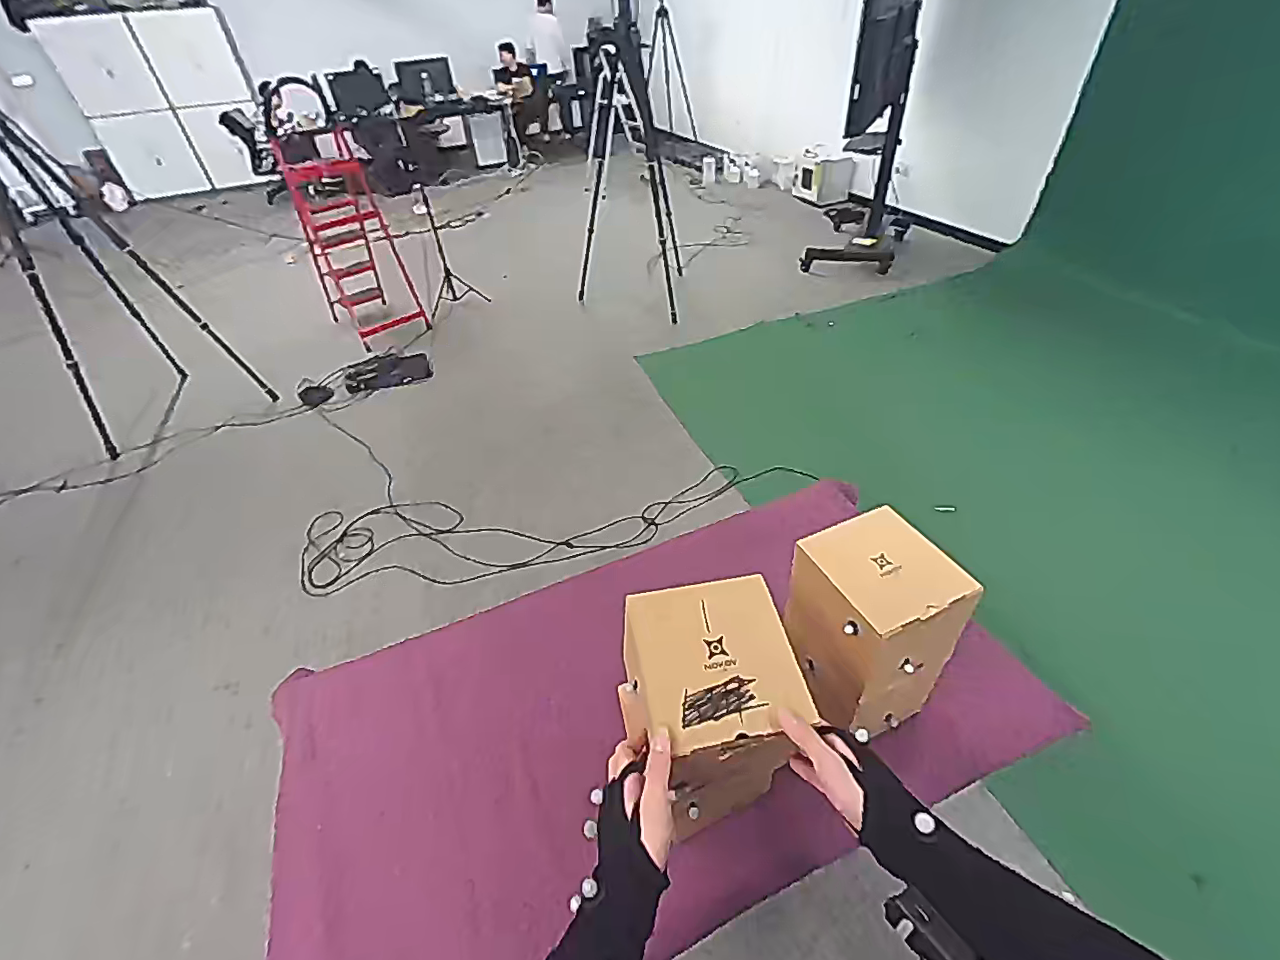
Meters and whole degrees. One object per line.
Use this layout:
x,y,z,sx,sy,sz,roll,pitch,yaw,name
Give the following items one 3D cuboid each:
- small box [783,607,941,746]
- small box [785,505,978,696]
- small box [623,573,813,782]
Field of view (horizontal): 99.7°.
0.343,0.294,0.886,0.168,0.176,0.179,-19,43,-14,small box
0.329,0.171,0.780,0.168,0.176,0.179,-19,43,-15,small box
0.074,0.234,0.629,0.168,0.176,0.179,-6,50,-9,small box
